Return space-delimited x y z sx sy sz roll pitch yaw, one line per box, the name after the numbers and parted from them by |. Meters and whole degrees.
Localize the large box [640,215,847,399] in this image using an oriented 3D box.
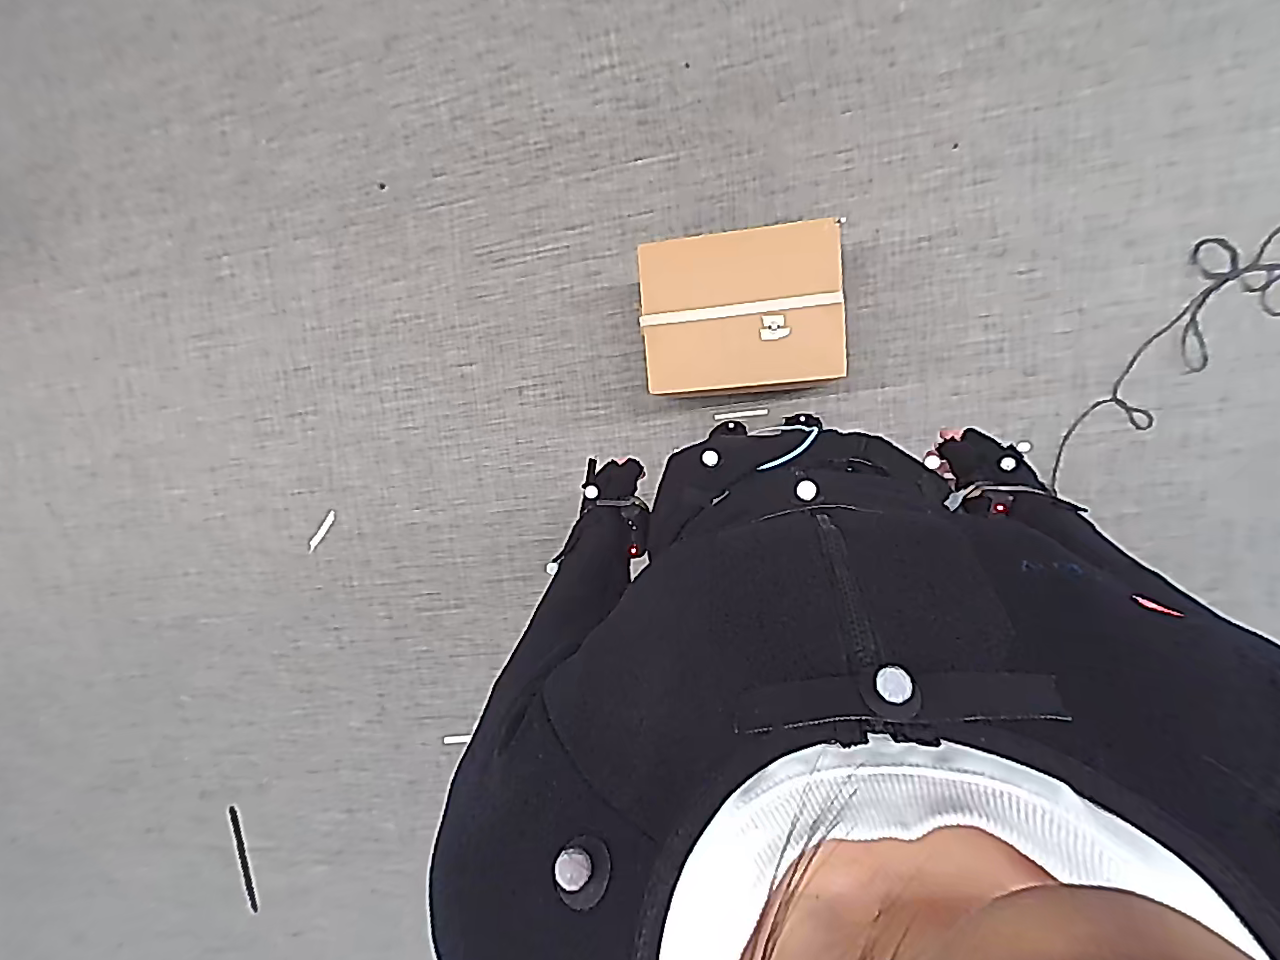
0.232 -0.368 1.253 0.408 0.320 0.320 -4 96 10 | large box
